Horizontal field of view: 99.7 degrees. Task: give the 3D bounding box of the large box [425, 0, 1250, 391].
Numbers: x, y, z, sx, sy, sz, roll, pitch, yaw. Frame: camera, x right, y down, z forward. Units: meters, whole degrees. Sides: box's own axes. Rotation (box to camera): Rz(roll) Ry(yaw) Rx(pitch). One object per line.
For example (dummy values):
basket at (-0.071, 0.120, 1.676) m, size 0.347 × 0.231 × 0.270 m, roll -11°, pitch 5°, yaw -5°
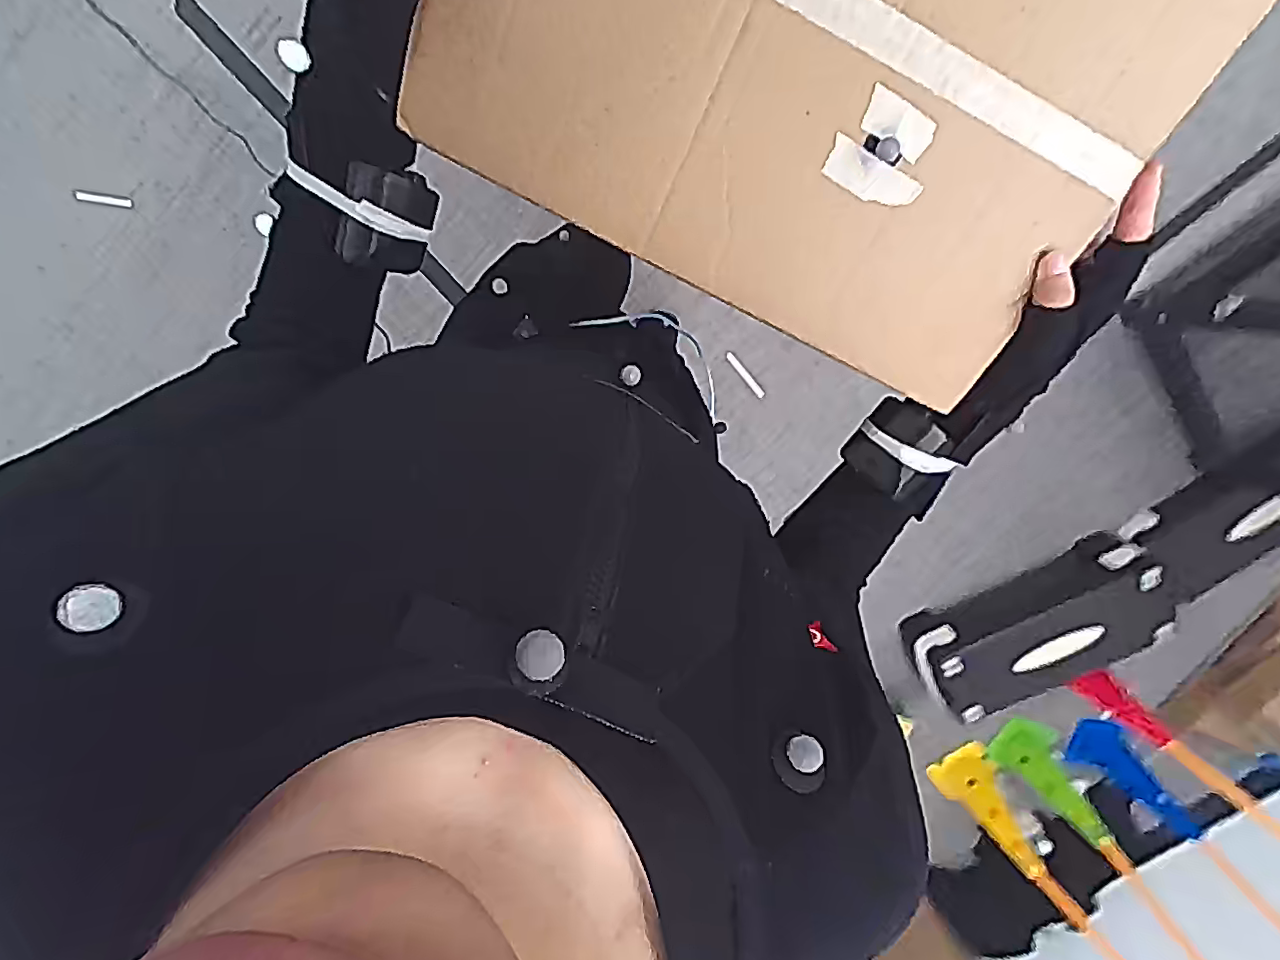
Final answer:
large box at (0.112, -0.328, 0.432) m, size 0.408 × 0.320 × 0.320 m, roll 24°, pitch 117°, yaw -8°
